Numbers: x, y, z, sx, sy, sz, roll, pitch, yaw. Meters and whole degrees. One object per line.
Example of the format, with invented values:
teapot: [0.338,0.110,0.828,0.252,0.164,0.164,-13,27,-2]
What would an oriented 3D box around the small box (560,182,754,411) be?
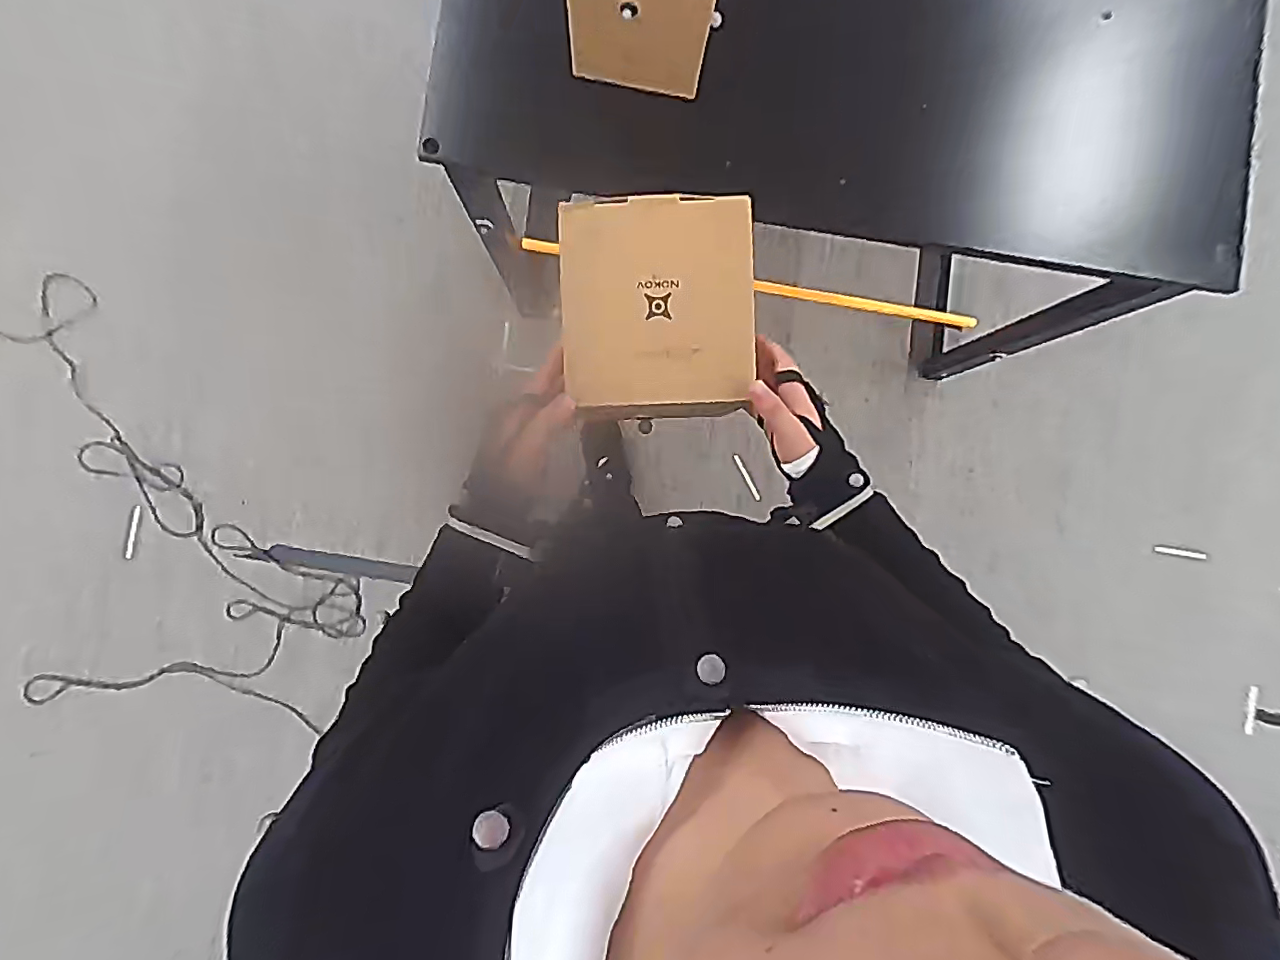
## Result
small box: [0.013,-0.167,0.540,0.168,0.176,0.179,-2,92,0]

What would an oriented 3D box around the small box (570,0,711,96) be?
small box: [0.006,-0.638,0.693,0.179,0.176,0.168,9,88,-3]
